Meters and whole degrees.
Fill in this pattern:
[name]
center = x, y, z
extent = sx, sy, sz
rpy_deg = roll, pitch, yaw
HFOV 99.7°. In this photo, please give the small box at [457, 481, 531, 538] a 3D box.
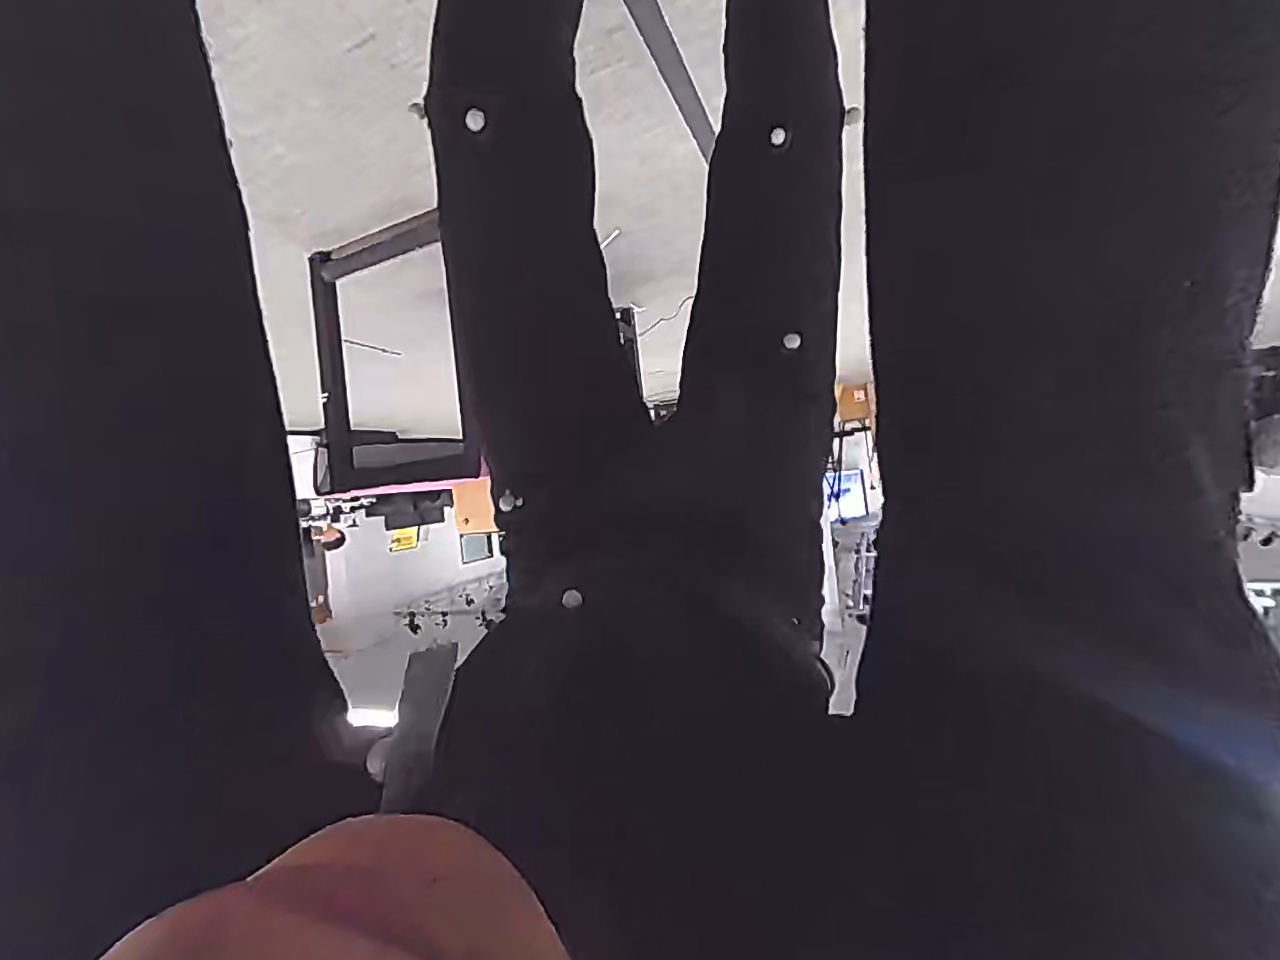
[small box]
center = -0.480, 0.094, 1.773
extent = 0.179, 0.176, 0.168
rpy_deg = -7, 180, 24
